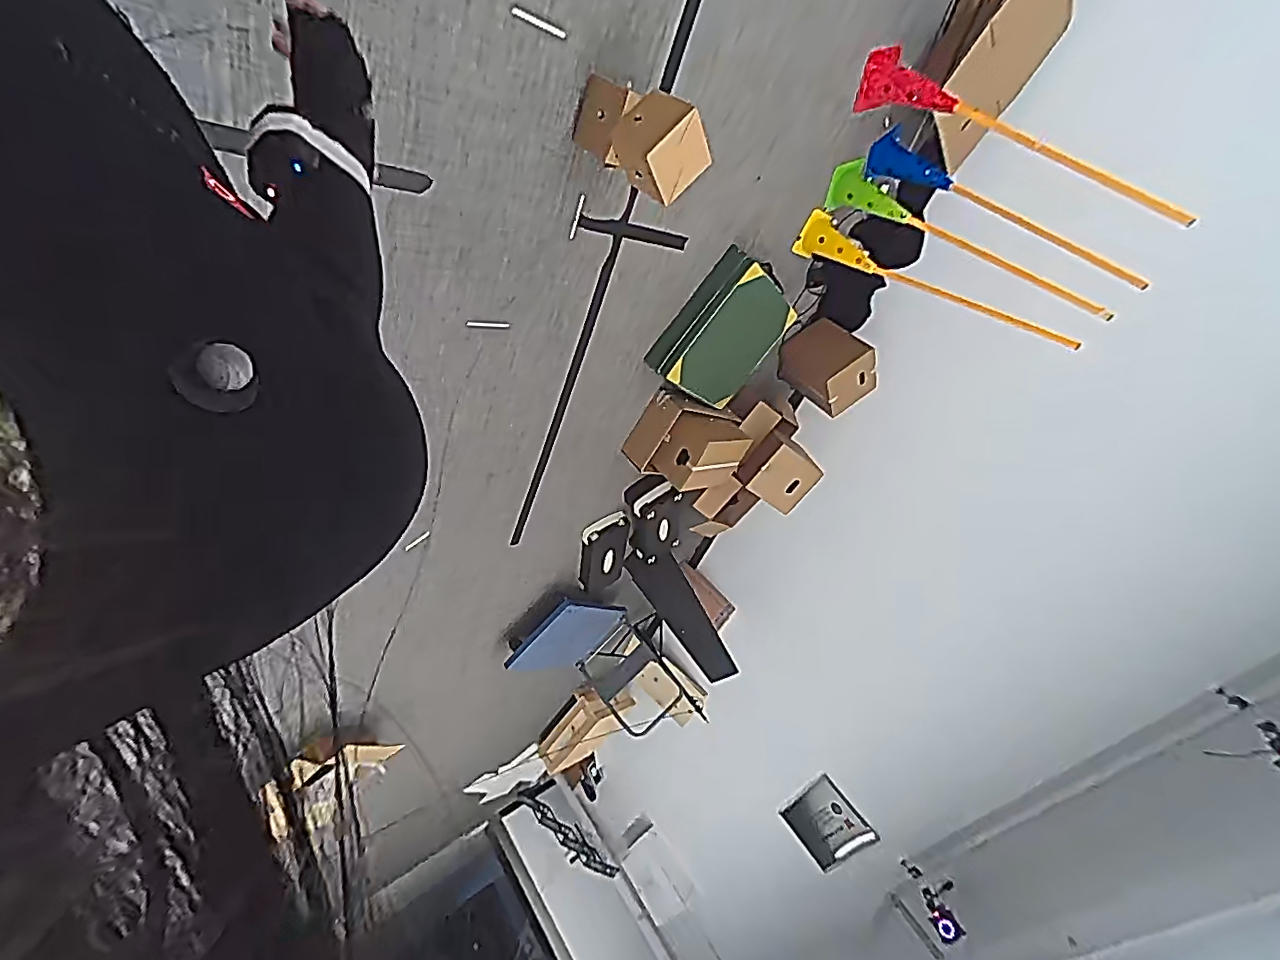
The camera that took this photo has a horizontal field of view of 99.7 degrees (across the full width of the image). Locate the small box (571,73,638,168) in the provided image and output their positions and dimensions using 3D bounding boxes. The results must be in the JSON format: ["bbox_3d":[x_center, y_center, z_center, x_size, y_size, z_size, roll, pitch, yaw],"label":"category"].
[{"bbox_3d":[-0.071,-0.990,1.509,0.168,0.176,0.179,-12,138,-45],"label":"small box"}]

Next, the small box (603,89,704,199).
[{"bbox_3d":[0.040,-0.884,1.439,0.179,0.176,0.168,-45,152,2],"label":"small box"}]
